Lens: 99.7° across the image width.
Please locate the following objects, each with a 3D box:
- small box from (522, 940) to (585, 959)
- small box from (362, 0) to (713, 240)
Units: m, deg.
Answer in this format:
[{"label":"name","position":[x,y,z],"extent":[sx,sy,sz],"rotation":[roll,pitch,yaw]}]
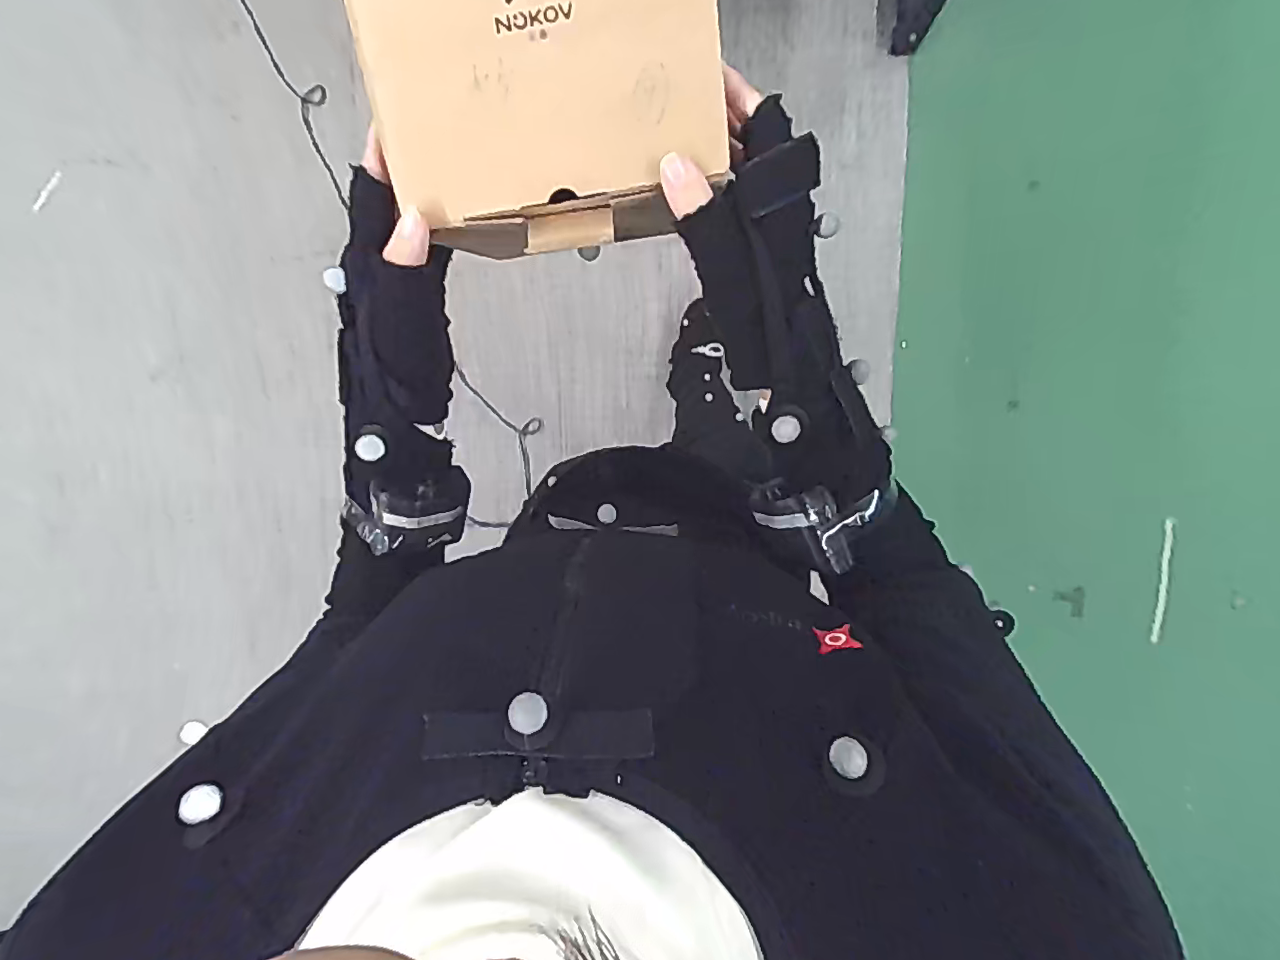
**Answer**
[{"label":"small box","position":[-0.258,1.447,1.520],"extent":[0.179,0.176,0.168],"rotation":[3,99,2]},{"label":"small box","position":[-0.049,-0.259,0.339],"extent":[0.168,0.176,0.179],"rotation":[-9,108,6]}]
